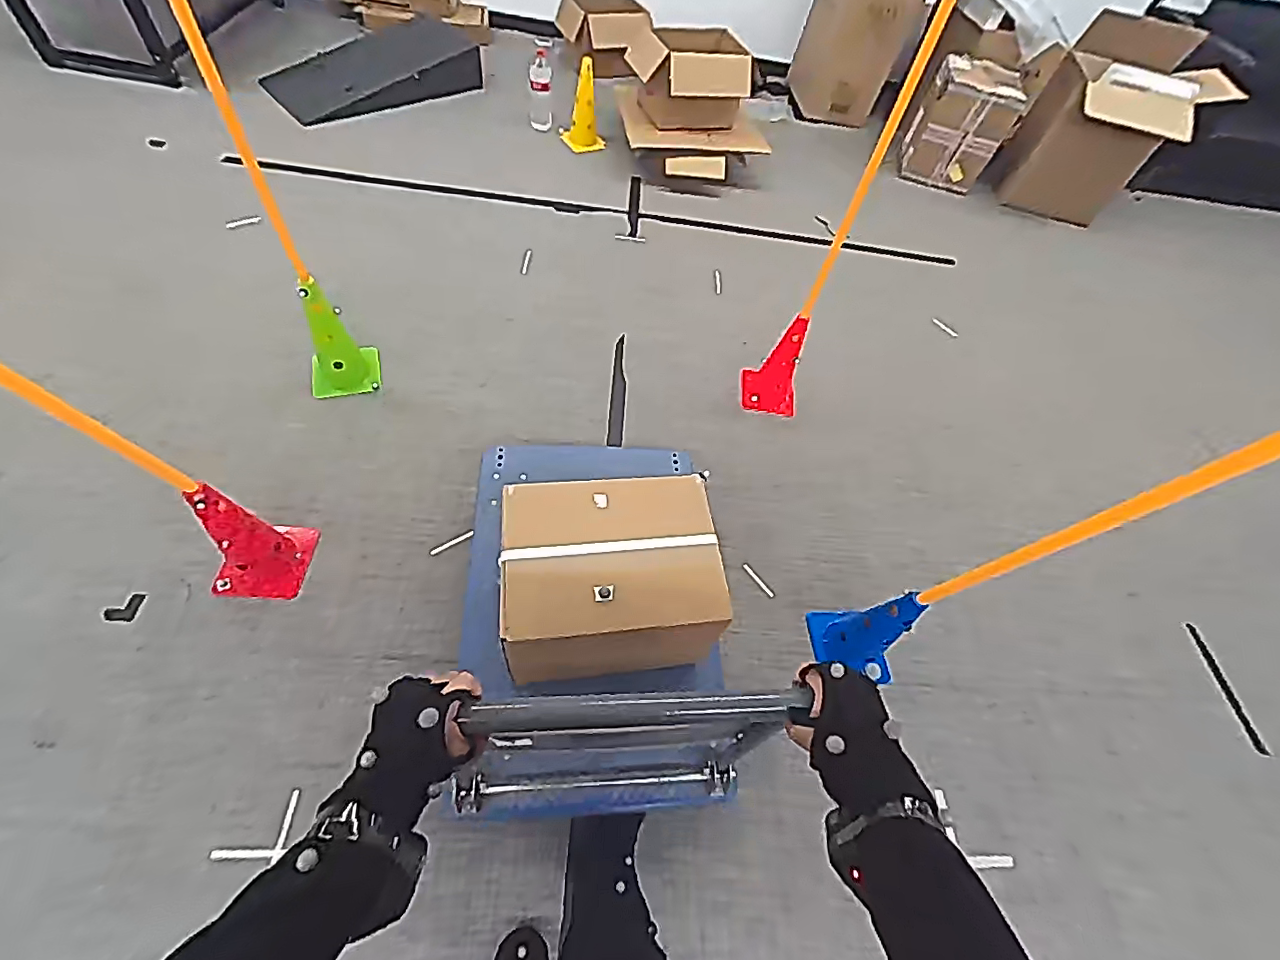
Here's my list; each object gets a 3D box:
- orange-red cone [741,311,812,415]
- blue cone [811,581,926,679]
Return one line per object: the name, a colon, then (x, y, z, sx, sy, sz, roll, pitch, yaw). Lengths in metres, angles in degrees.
orange-red cone: (0.493, -0.416, 1.819, 0.199, 0.360, 0.198, 12, 56, -3)
blue cone: (0.595, 0.354, 1.342, 0.193, 0.380, 0.192, 2, 55, -8)
